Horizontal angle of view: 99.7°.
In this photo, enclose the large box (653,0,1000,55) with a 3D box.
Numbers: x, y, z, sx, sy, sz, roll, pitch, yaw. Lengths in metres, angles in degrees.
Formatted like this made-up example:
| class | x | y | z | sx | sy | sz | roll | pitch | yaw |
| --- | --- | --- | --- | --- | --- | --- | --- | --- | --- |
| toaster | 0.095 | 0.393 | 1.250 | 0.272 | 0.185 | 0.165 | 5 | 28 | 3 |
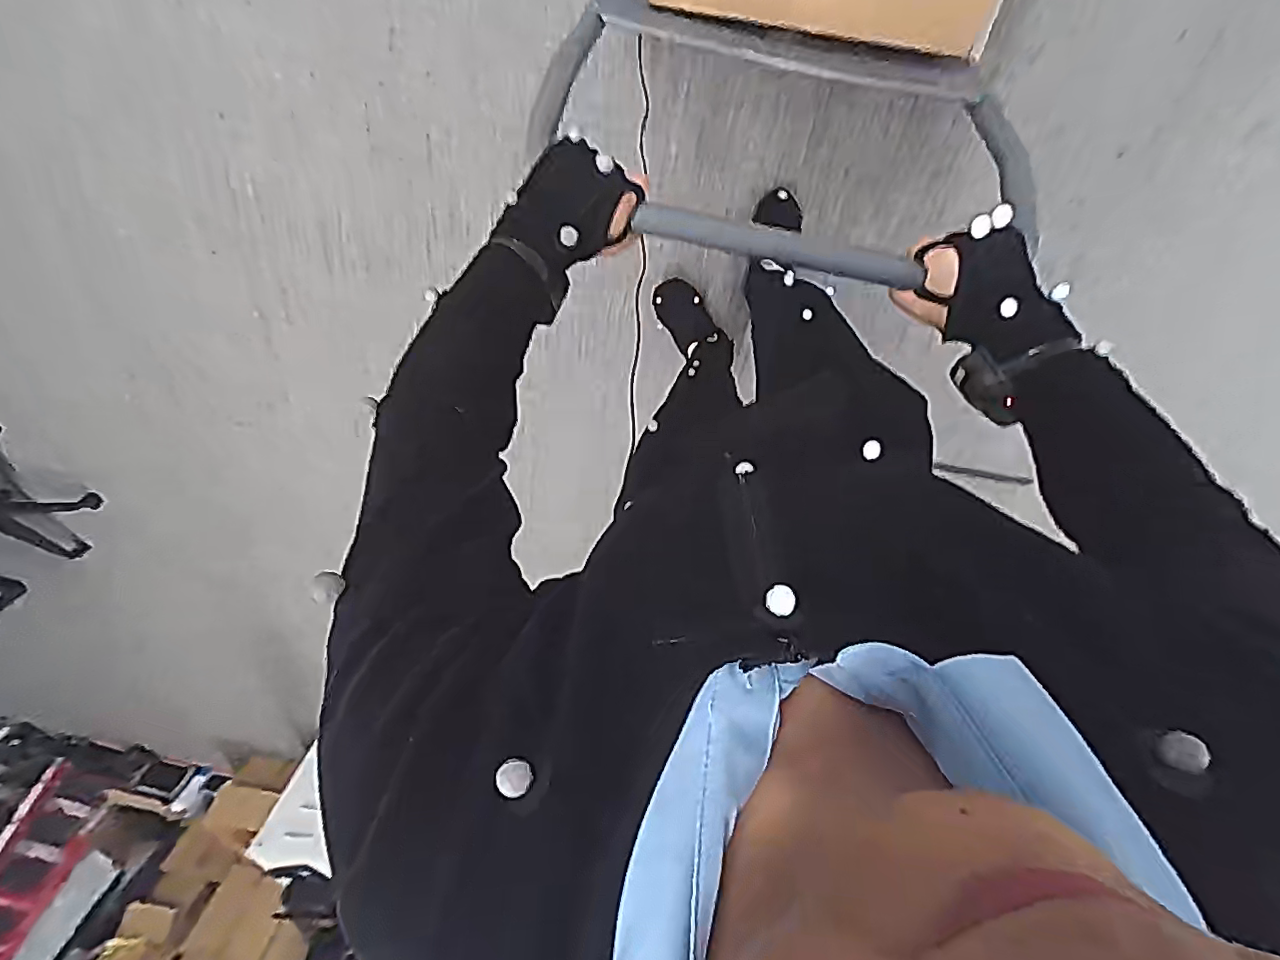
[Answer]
| class | x | y | z | sx | sy | sz | roll | pitch | yaw |
| --- | --- | --- | --- | --- | --- | --- | --- | --- | --- |
| large box | 0.240 | -0.752 | 0.634 | 0.408 | 0.320 | 0.320 | 9 | 141 | 0 |
